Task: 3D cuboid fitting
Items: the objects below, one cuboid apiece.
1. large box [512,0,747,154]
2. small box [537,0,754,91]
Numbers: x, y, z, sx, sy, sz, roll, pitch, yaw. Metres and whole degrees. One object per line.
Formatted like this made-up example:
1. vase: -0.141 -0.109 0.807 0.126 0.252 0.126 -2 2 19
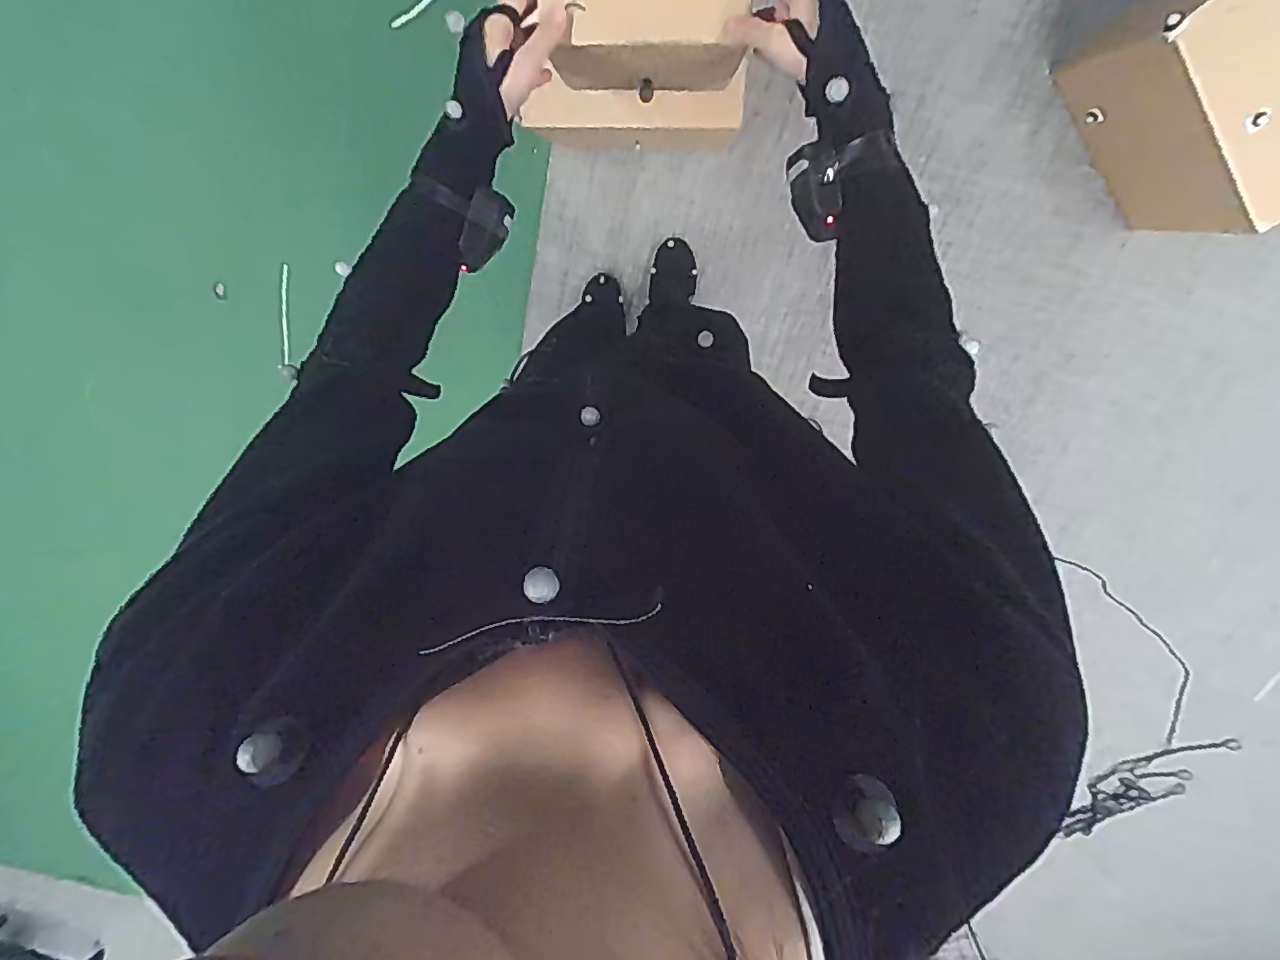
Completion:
1. large box: -0.003 -0.826 1.044 0.408 0.320 0.320 3 114 5
2. small box: 0.005 -0.464 0.479 0.179 0.176 0.168 0 114 0
